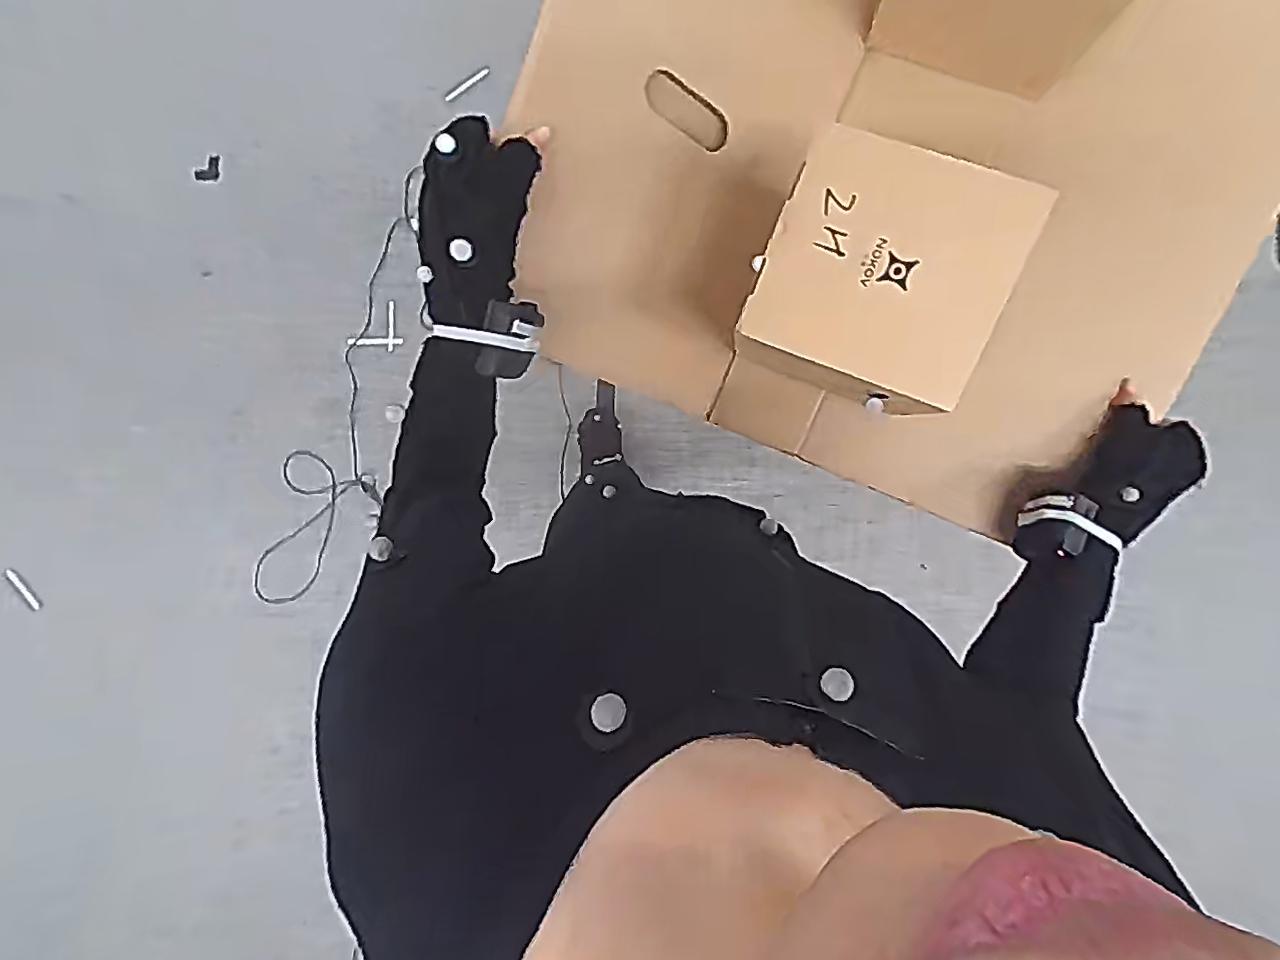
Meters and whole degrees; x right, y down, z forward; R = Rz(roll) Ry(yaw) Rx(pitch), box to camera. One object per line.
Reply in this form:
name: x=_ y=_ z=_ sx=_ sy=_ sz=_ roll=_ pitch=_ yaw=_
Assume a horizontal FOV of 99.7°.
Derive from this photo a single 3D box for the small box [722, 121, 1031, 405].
small box: x=0.188 y=-0.174 z=0.488 sx=0.179 sy=0.176 sz=0.168 roll=22 pitch=99 yaw=8
